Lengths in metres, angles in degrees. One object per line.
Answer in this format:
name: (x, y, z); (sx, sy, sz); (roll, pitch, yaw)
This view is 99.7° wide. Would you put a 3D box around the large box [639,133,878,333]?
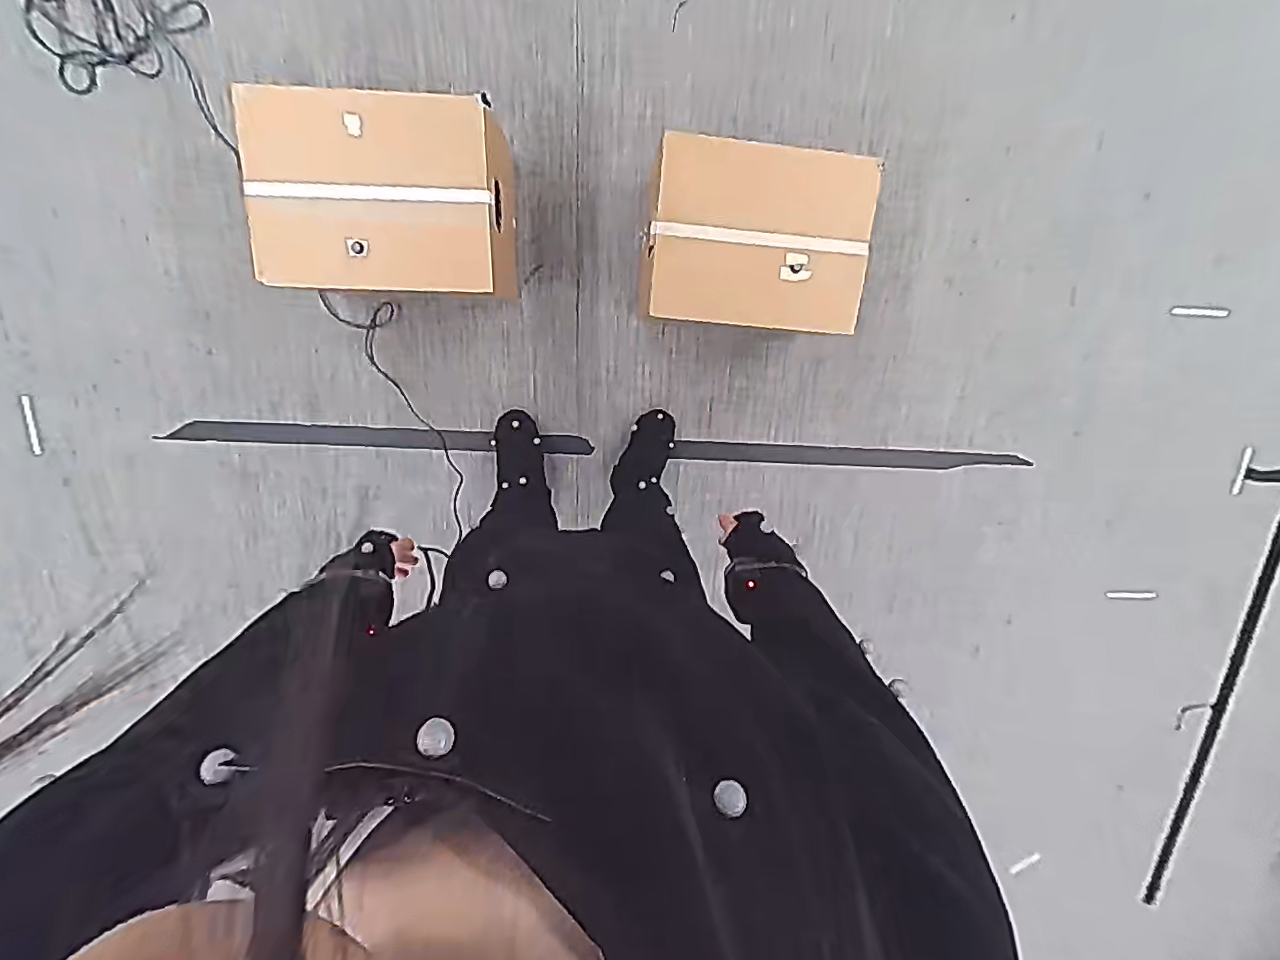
large box: (0.215, -0.488, 1.148); (0.408, 0.320, 0.320); (4, 105, -6)
